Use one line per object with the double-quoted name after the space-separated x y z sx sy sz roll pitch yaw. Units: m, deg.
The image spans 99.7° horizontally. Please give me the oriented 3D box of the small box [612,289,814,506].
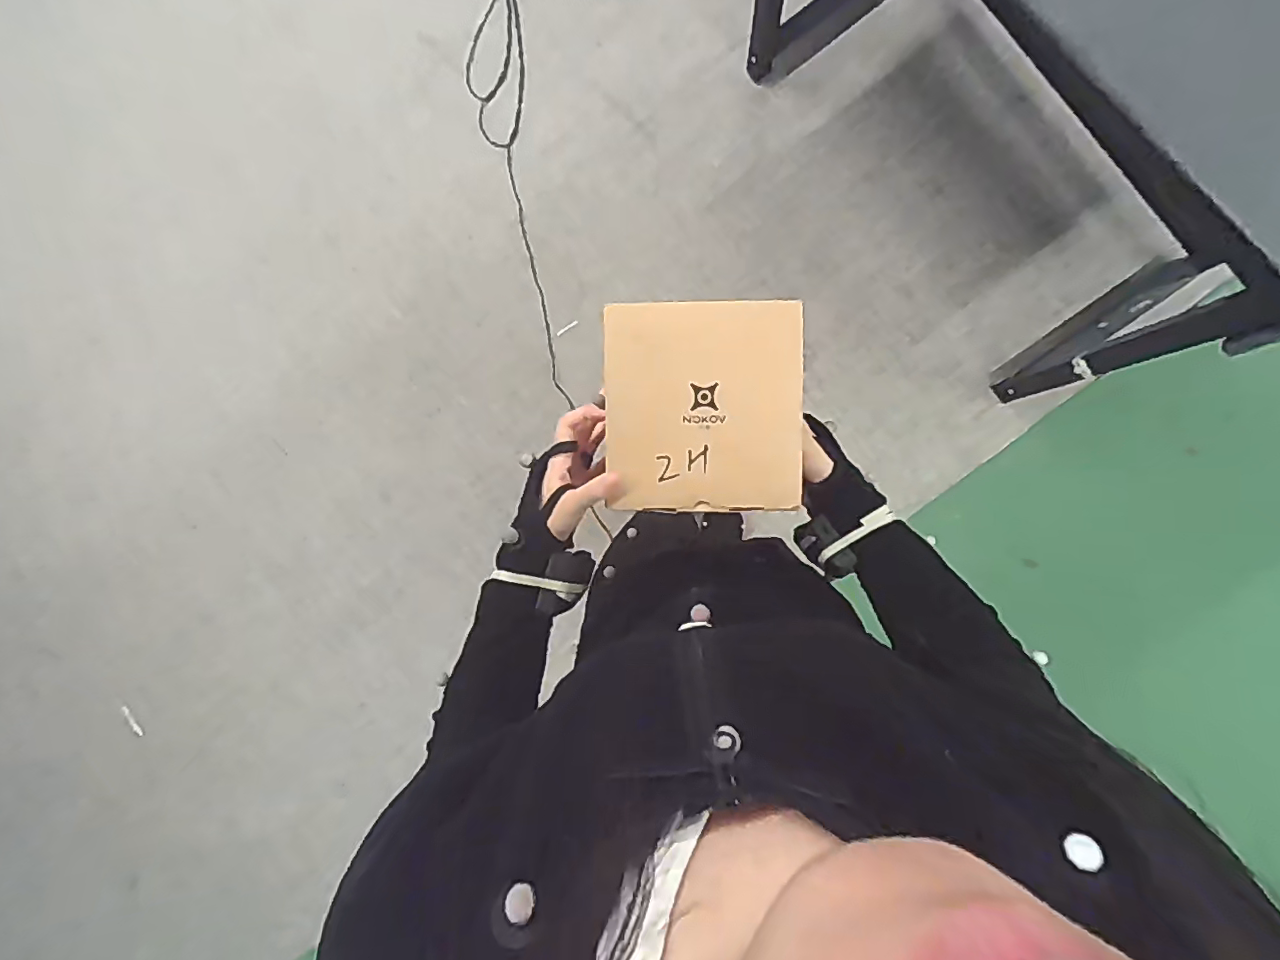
0.060 -0.068 0.517 0.168 0.176 0.179 -1 92 2 "small box"
